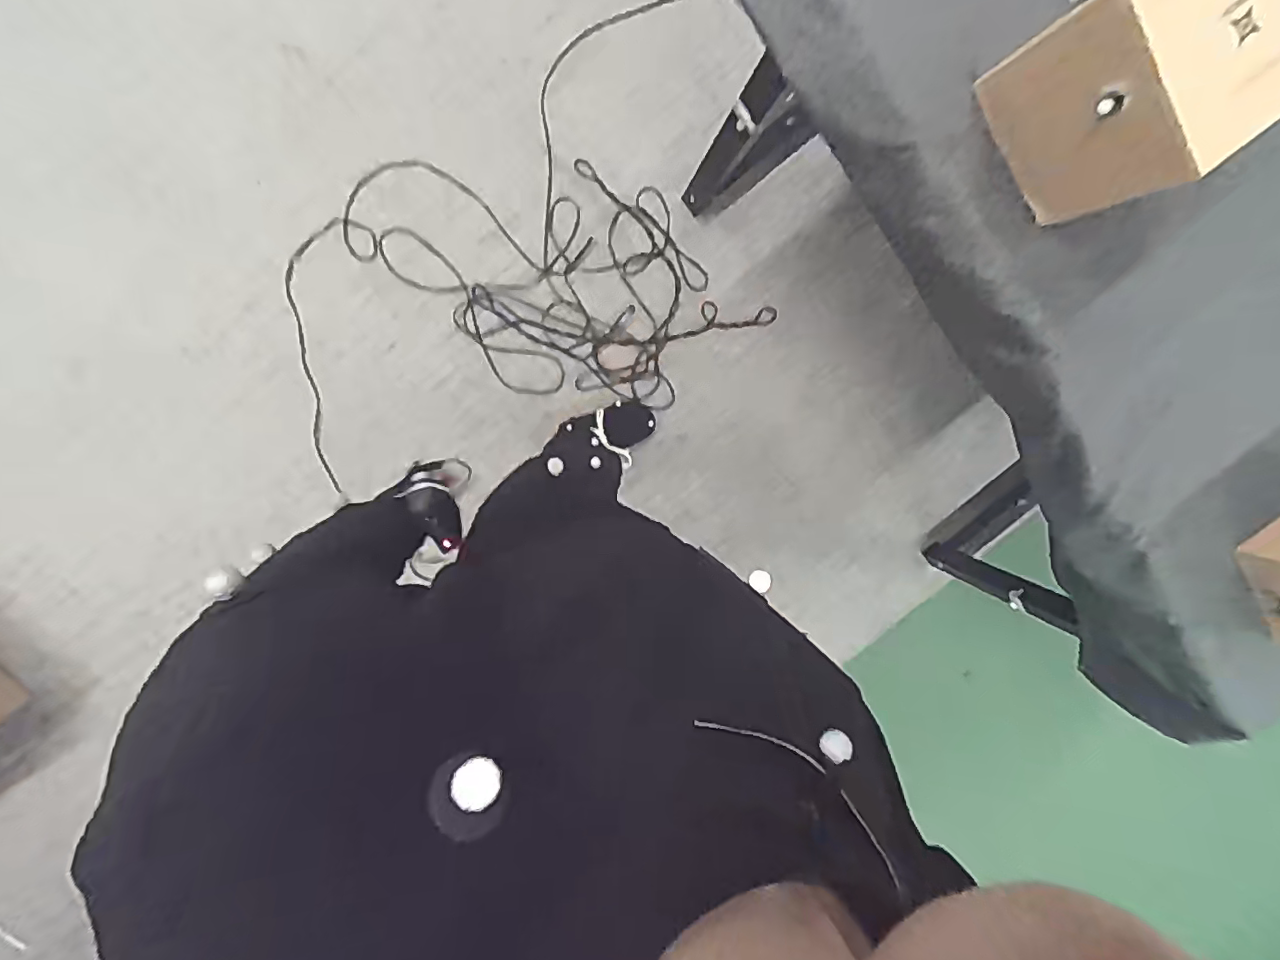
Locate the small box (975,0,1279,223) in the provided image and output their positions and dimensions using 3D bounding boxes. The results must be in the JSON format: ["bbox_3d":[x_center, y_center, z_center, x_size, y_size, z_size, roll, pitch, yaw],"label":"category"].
[{"bbox_3d":[0.473,-0.386,0.520,0.168,0.176,0.179,-37,104,0],"label":"small box"}]
